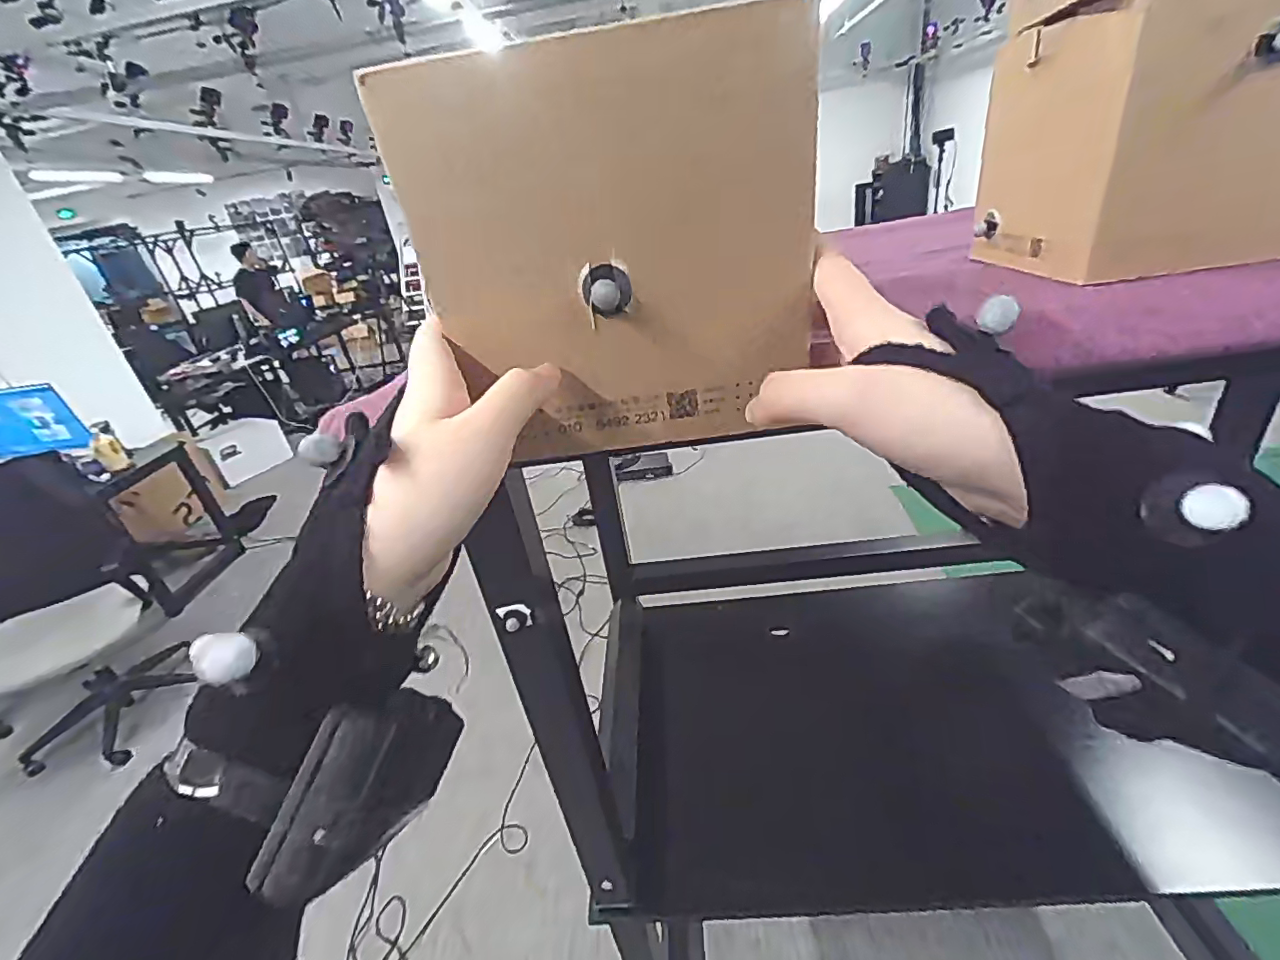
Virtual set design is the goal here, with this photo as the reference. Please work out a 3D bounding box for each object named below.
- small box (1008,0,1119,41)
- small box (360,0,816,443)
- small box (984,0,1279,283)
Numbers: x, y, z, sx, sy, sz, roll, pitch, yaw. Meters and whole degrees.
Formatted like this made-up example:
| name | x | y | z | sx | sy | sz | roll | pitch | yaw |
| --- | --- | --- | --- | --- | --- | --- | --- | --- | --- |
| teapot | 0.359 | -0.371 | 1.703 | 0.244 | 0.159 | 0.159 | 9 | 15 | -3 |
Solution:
| name | x | y | z | sx | sy | sz | roll | pitch | yaw |
| --- | --- | --- | --- | --- | --- | --- | --- | --- | --- |
| small box | 0.353 | -0.390 | 0.318 | 0.179 | 0.176 | 0.168 | -2 | 28 | 16 |
| small box | -0.009 | -0.129 | 0.297 | 0.168 | 0.176 | 0.179 | -6 | 34 | 4 |
| small box | 0.381 | -0.249 | 0.395 | 0.179 | 0.176 | 0.168 | -5 | 29 | 6 |
